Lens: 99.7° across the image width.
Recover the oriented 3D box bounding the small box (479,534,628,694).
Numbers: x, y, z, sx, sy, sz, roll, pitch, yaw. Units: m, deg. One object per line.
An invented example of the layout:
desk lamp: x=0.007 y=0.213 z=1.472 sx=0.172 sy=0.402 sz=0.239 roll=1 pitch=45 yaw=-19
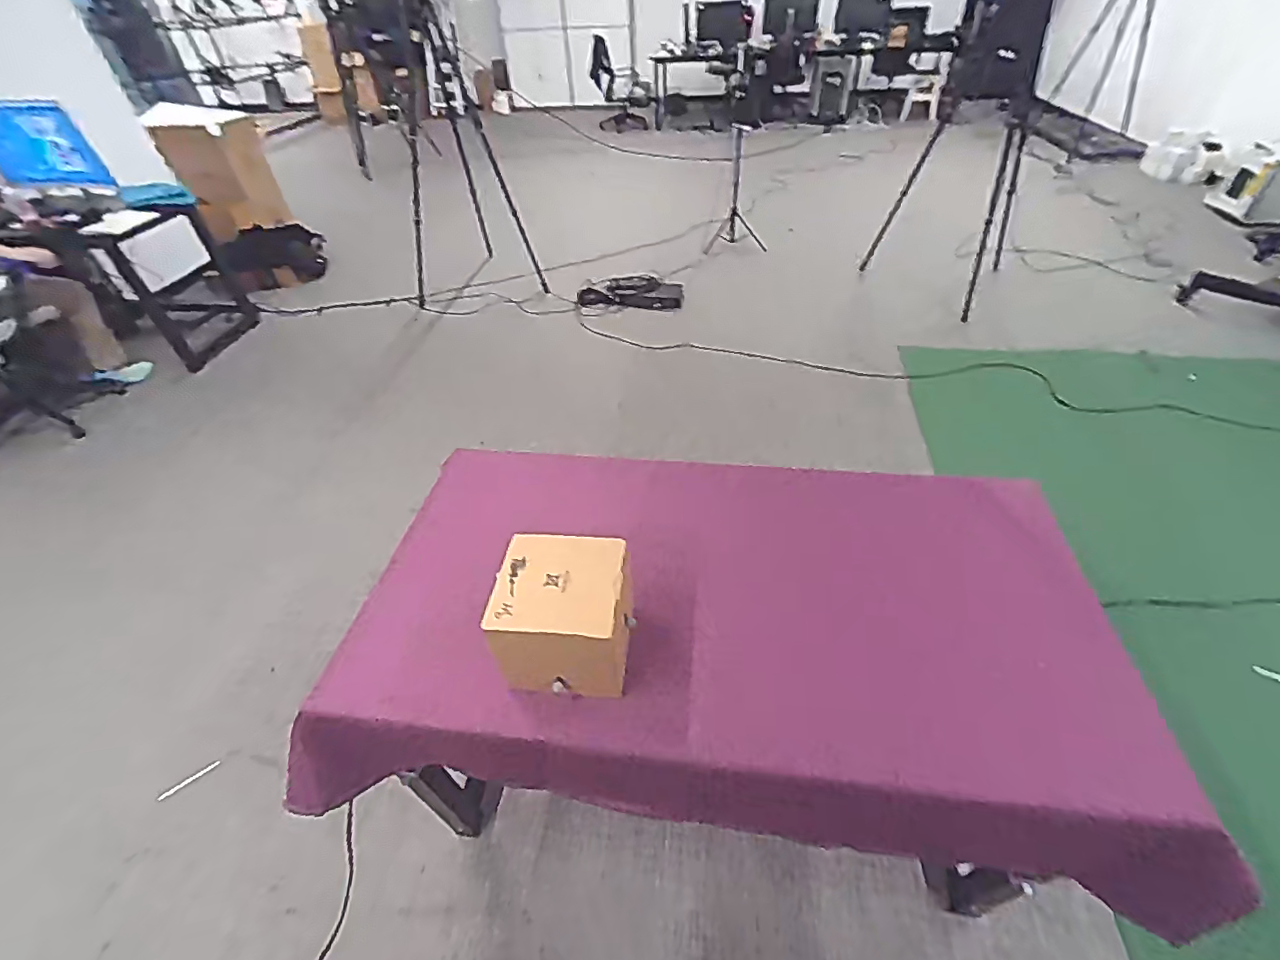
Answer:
small box: x=-0.113 y=0.201 z=0.805 sx=0.179 sy=0.176 sz=0.168 roll=3 pitch=43 yaw=5
